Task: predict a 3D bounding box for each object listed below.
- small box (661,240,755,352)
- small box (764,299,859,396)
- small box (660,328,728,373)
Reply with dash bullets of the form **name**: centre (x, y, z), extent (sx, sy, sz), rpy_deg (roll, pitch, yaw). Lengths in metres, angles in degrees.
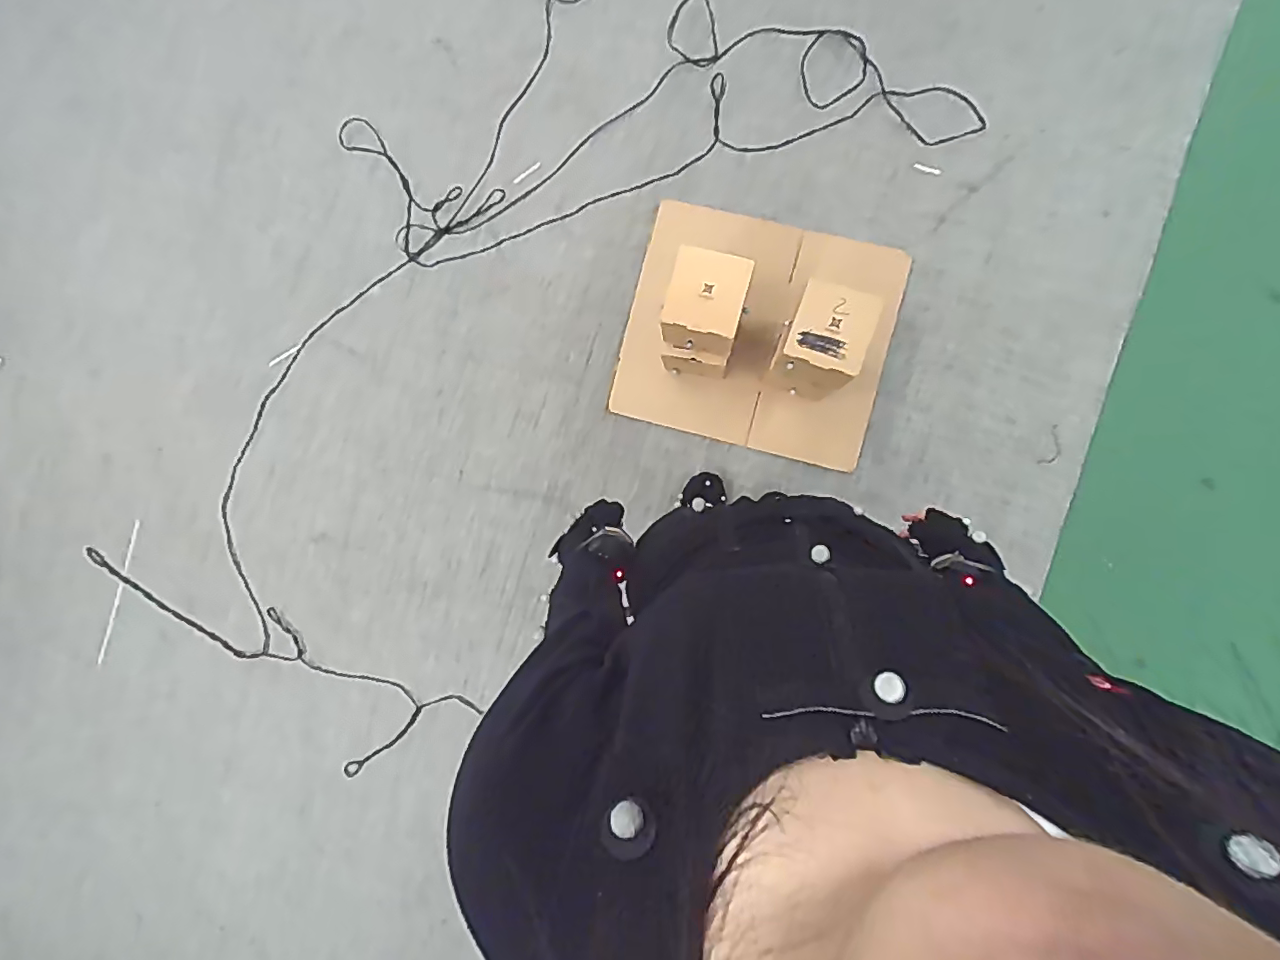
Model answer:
- **small box**: centre (0.150, -0.411, 1.233), extent (0.168, 0.176, 0.179), rpy_deg (16, 91, 5)
- **small box**: centre (0.426, -0.328, 1.373), extent (0.168, 0.176, 0.179), rpy_deg (20, 93, 6)
- **small box**: centre (0.154, -0.385, 1.397), extent (0.168, 0.176, 0.179), rpy_deg (13, 91, 5)
